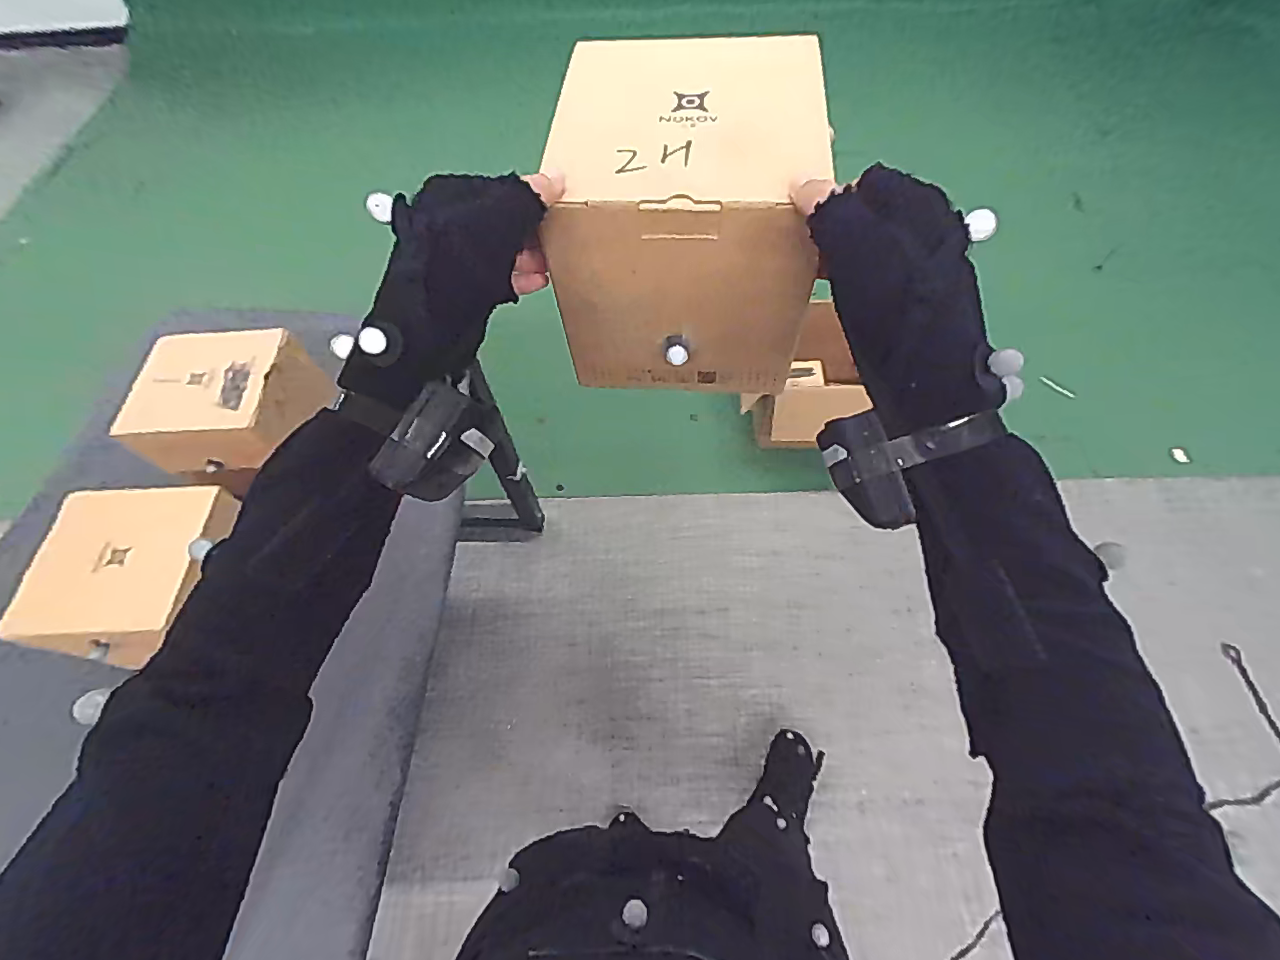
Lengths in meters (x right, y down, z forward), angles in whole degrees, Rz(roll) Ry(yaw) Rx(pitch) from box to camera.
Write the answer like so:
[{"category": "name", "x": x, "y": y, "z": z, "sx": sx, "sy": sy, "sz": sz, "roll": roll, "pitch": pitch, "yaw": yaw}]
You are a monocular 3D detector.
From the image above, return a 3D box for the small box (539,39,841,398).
[{"category": "small box", "x": 0.038, "y": -0.184, "z": 0.397, "sx": 0.168, "sy": 0.176, "sz": 0.179, "roll": 3, "pitch": 62, "yaw": 7}]

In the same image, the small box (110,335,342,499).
[{"category": "small box", "x": -0.558, "y": -0.082, "z": 0.763, "sx": 0.179, "sy": 0.176, "sz": 0.168, "roll": -3, "pitch": 60, "yaw": 1}]

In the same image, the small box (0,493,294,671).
[{"category": "small box", "x": -0.560, "y": 0.127, "z": 0.645, "sx": 0.179, "sy": 0.176, "sz": 0.168, "roll": -3, "pitch": 60, "yaw": 1}]
